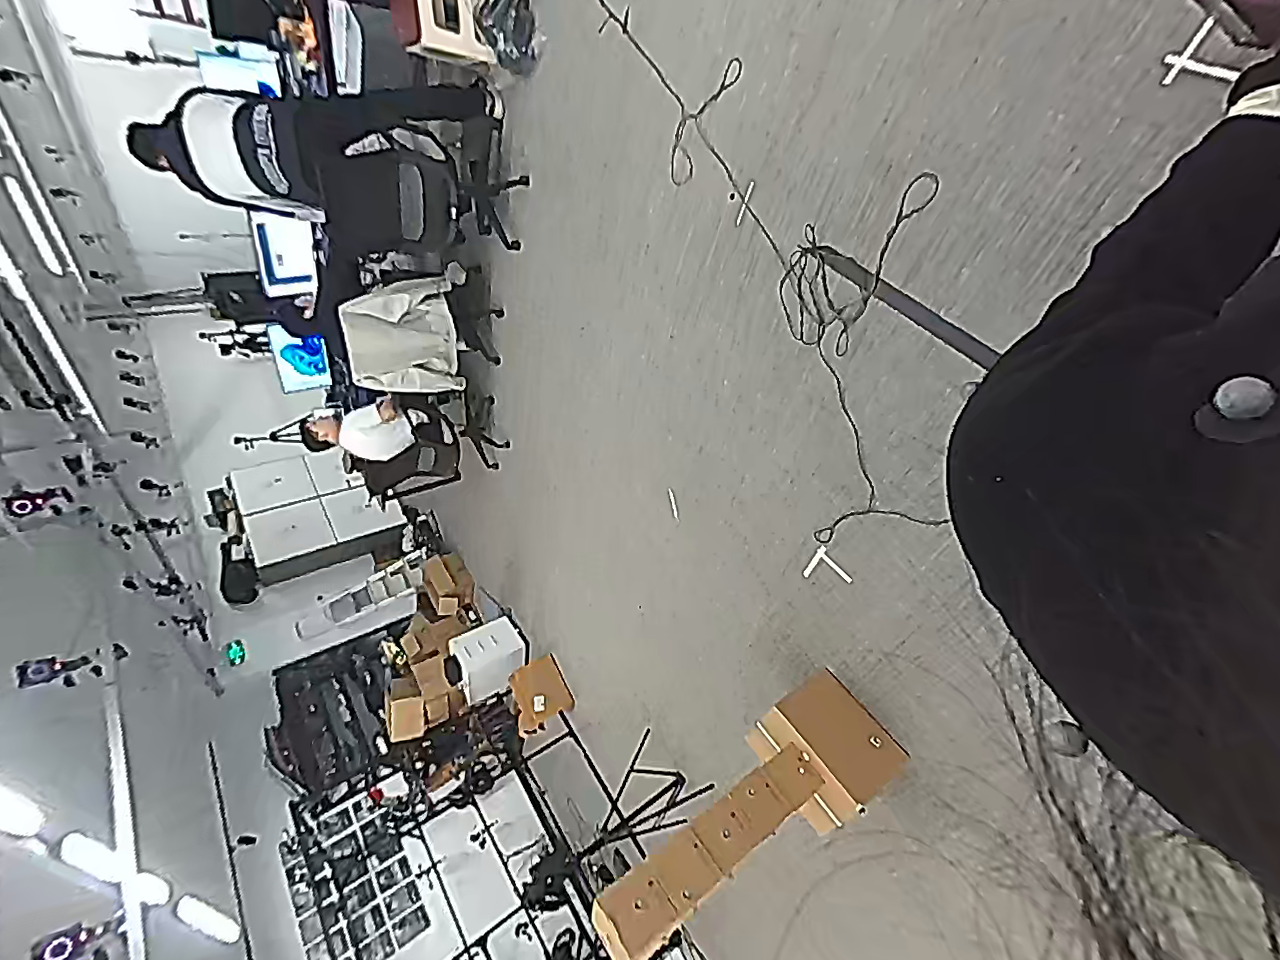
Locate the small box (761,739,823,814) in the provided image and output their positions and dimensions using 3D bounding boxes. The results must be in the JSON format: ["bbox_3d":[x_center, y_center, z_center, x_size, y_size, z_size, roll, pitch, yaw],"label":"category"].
[{"bbox_3d":[0.506,1.046,1.884,0.168,0.176,0.179,47,139,31],"label":"small box"}]

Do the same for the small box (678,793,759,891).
[{"bbox_3d":[0.248,1.132,1.702,0.168,0.176,0.179,44,138,36],"label":"small box"}]

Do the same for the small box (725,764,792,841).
[{"bbox_3d":[0.377,1.083,1.793,0.168,0.176,0.179,47,140,33],"label":"small box"}]

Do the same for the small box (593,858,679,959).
[{"bbox_3d":[-0.010,1.217,1.519,0.168,0.176,0.179,41,135,38],"label":"small box"}]
